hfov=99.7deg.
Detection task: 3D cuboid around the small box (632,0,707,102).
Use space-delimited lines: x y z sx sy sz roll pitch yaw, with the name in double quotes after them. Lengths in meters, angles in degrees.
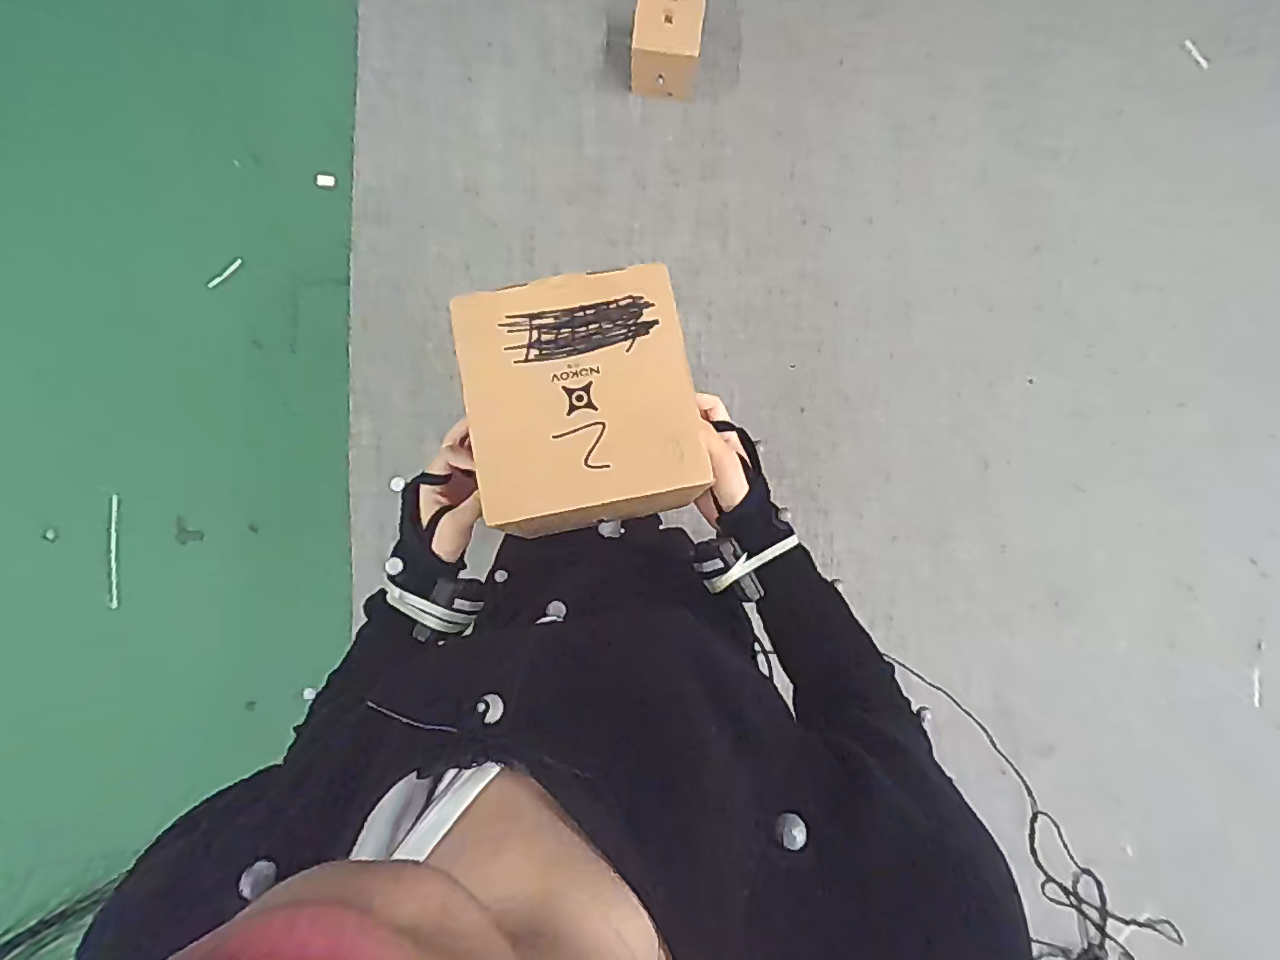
0.073 -1.113 1.382 0.168 0.176 0.179 8 92 -1 "small box"
